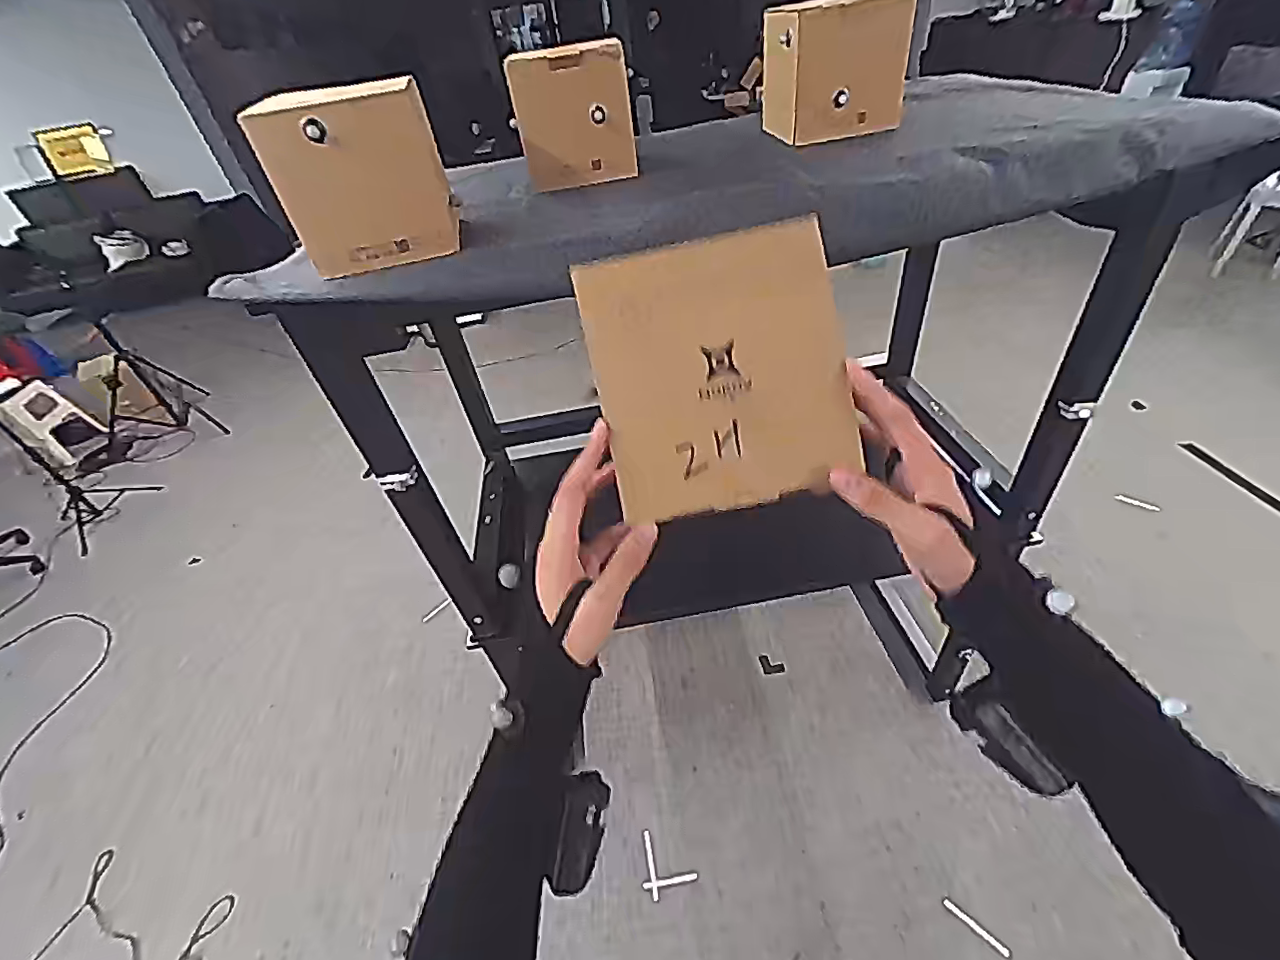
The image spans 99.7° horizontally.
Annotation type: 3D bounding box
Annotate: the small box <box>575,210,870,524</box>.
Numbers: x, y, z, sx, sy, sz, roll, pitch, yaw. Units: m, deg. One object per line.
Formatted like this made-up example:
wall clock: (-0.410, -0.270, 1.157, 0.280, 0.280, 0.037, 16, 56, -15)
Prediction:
small box: (0.052, -0.076, 0.426, 0.168, 0.179, 0.176, -13, 4, 0)

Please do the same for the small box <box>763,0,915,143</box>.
small box: (0.294, -0.643, 0.843, 0.168, 0.176, 0.179, -11, 42, 0)

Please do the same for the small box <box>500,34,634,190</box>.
small box: (-0.104, -0.562, 0.833, 0.168, 0.176, 0.179, -8, 42, 1)

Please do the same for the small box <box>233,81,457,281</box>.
small box: (-0.328, -0.358, 0.645, 0.168, 0.176, 0.179, -15, 42, -6)
